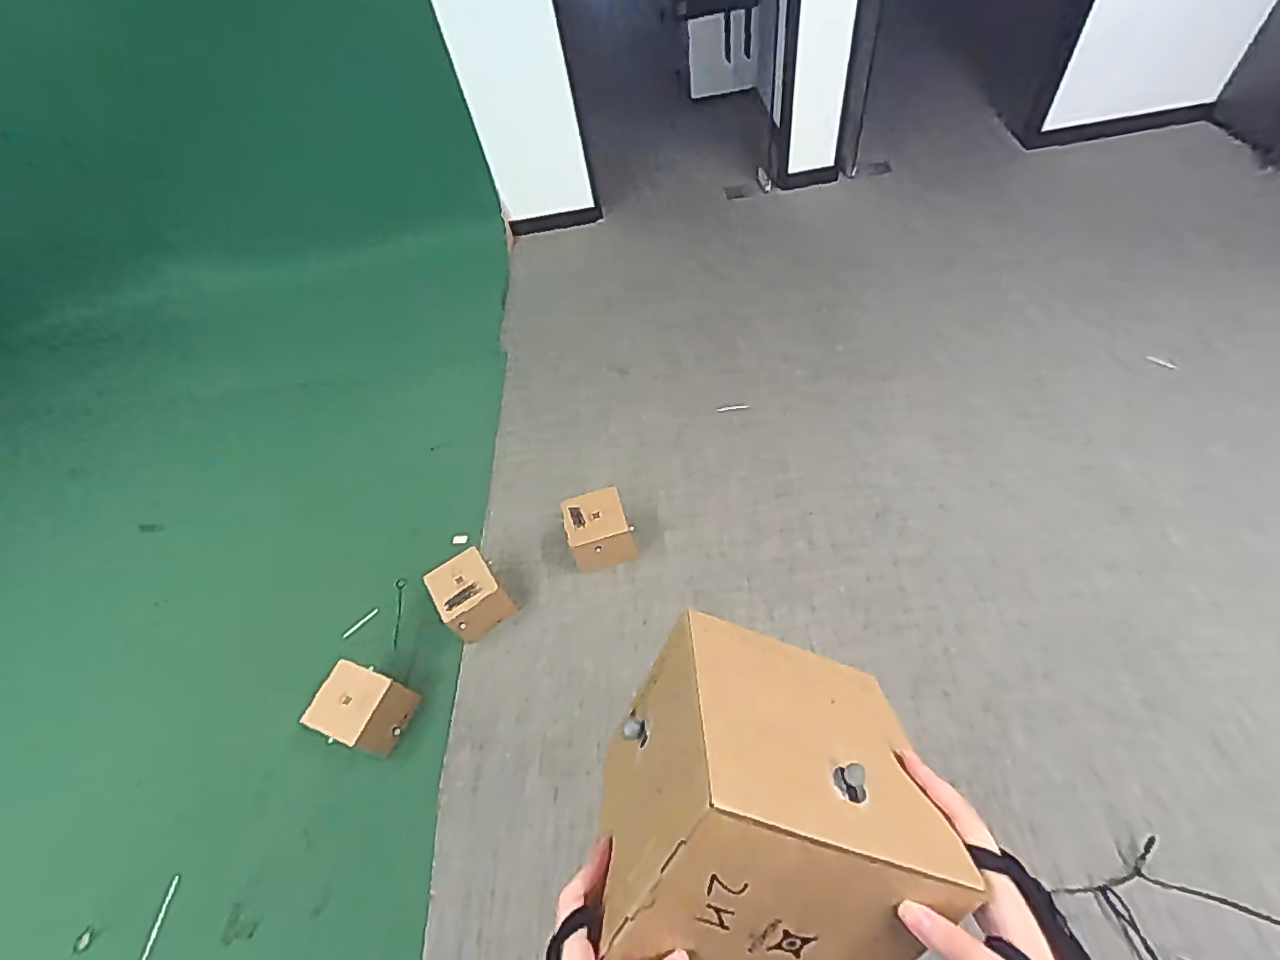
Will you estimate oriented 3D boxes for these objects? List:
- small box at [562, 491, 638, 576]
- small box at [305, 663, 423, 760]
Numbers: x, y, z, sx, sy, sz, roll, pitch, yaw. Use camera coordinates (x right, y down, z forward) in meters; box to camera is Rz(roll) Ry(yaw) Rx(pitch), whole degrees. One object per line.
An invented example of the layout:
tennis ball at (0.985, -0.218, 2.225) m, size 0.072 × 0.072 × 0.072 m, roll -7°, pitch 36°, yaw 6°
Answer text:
small box at (-0.118, 0.166, 1.622) m, size 0.179 × 0.176 × 0.168 m, roll -16°, pitch 53°, yaw -3°
small box at (-0.707, 0.606, 1.404) m, size 0.179 × 0.176 × 0.168 m, roll 13°, pitch 57°, yaw 19°
